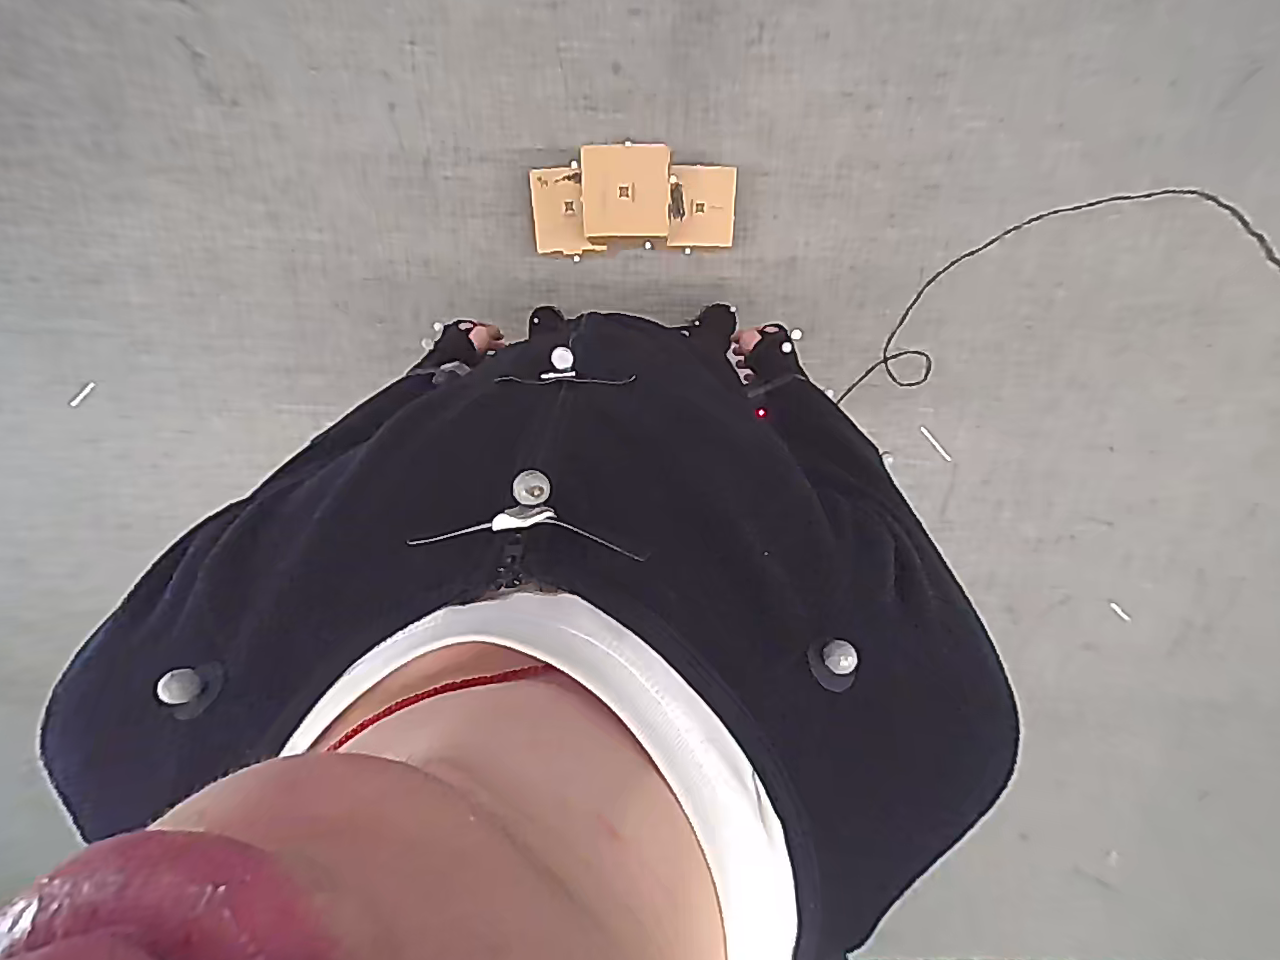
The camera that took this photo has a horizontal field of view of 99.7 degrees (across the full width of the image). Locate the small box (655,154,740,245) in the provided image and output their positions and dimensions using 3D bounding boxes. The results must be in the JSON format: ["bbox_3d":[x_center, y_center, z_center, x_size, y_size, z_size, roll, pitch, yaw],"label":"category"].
[{"bbox_3d":[0.131,-0.661,1.294,0.179,0.176,0.168,5,111,0],"label":"small box"}]

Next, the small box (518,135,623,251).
[{"bbox_3d":[-0.157,-0.671,1.290,0.179,0.176,0.168,-30,104,12],"label":"small box"}]
